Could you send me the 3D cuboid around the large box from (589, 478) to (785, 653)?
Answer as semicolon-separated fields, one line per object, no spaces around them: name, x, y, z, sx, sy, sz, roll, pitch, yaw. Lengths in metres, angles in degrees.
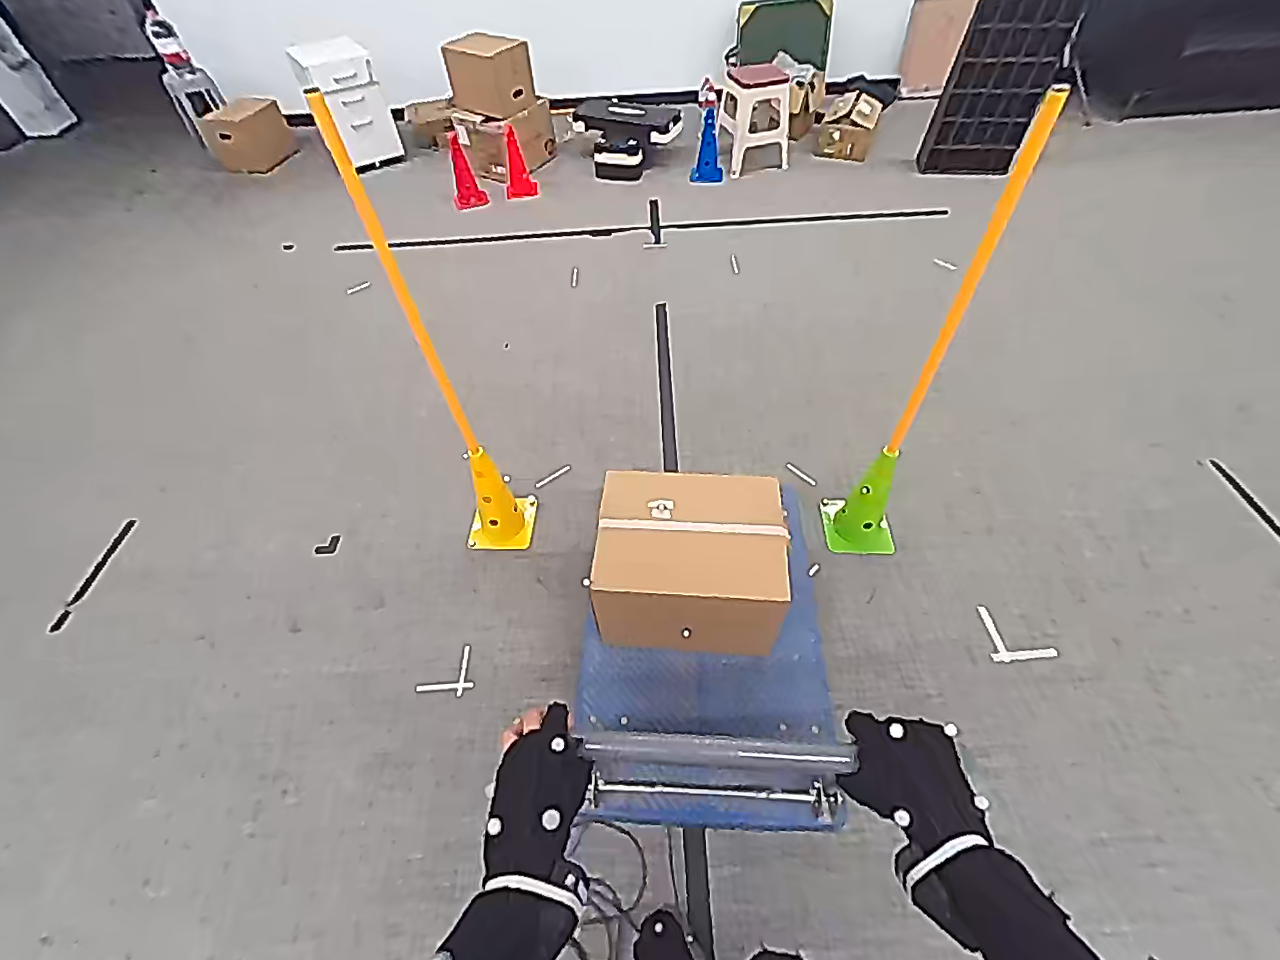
large box;0.113;0.209;1.298;0.408;0.320;0.320;2;52;6

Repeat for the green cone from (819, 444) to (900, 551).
green cone;0.678;0.033;1.589;0.202;0.368;0.200;1;52;3
